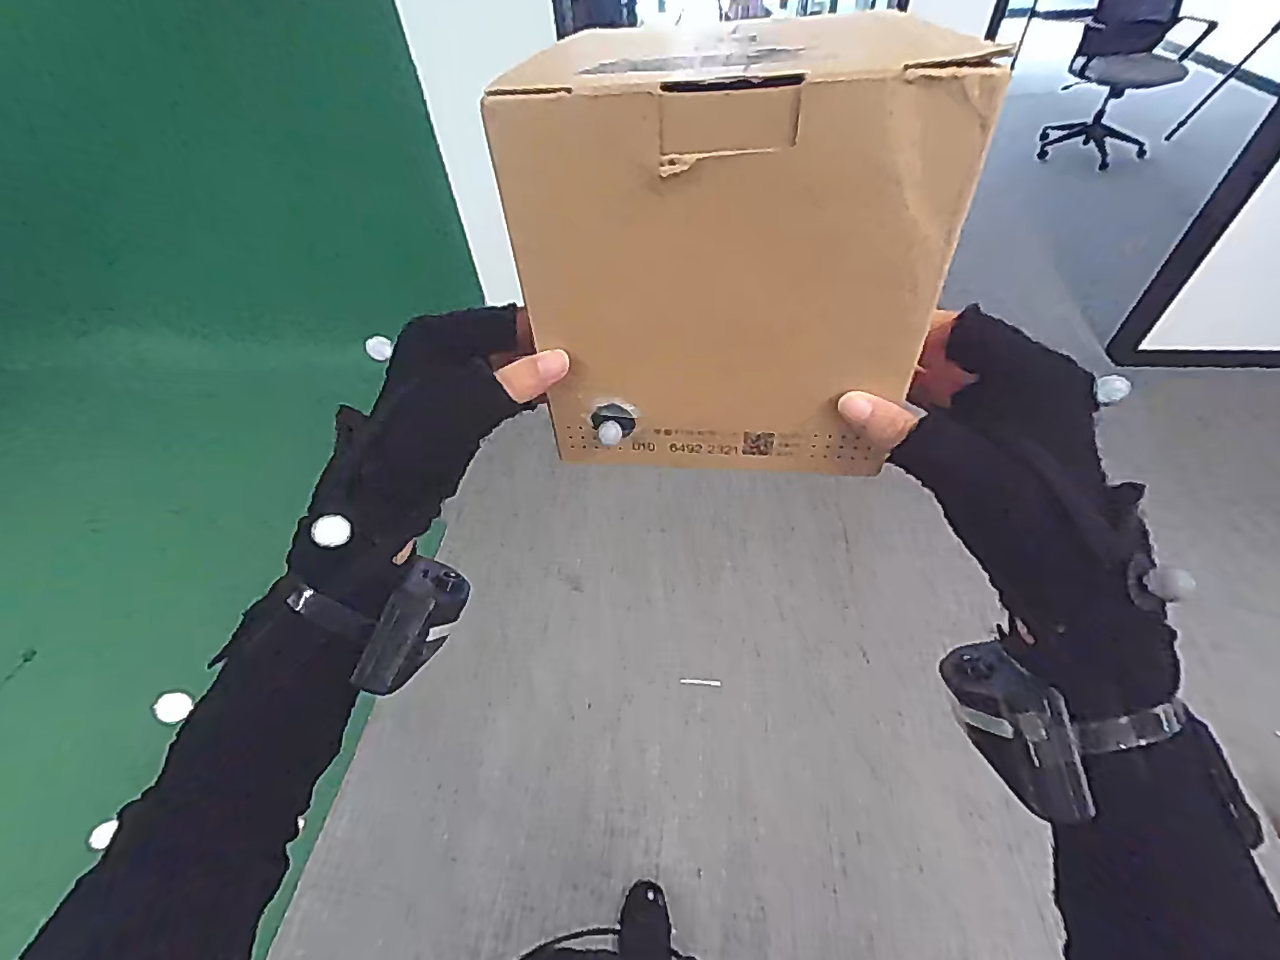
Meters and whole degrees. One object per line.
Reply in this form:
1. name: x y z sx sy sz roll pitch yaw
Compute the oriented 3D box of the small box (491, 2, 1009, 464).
1. small box: 0.047 -0.124 0.283 0.168 0.176 0.179 3 44 8
